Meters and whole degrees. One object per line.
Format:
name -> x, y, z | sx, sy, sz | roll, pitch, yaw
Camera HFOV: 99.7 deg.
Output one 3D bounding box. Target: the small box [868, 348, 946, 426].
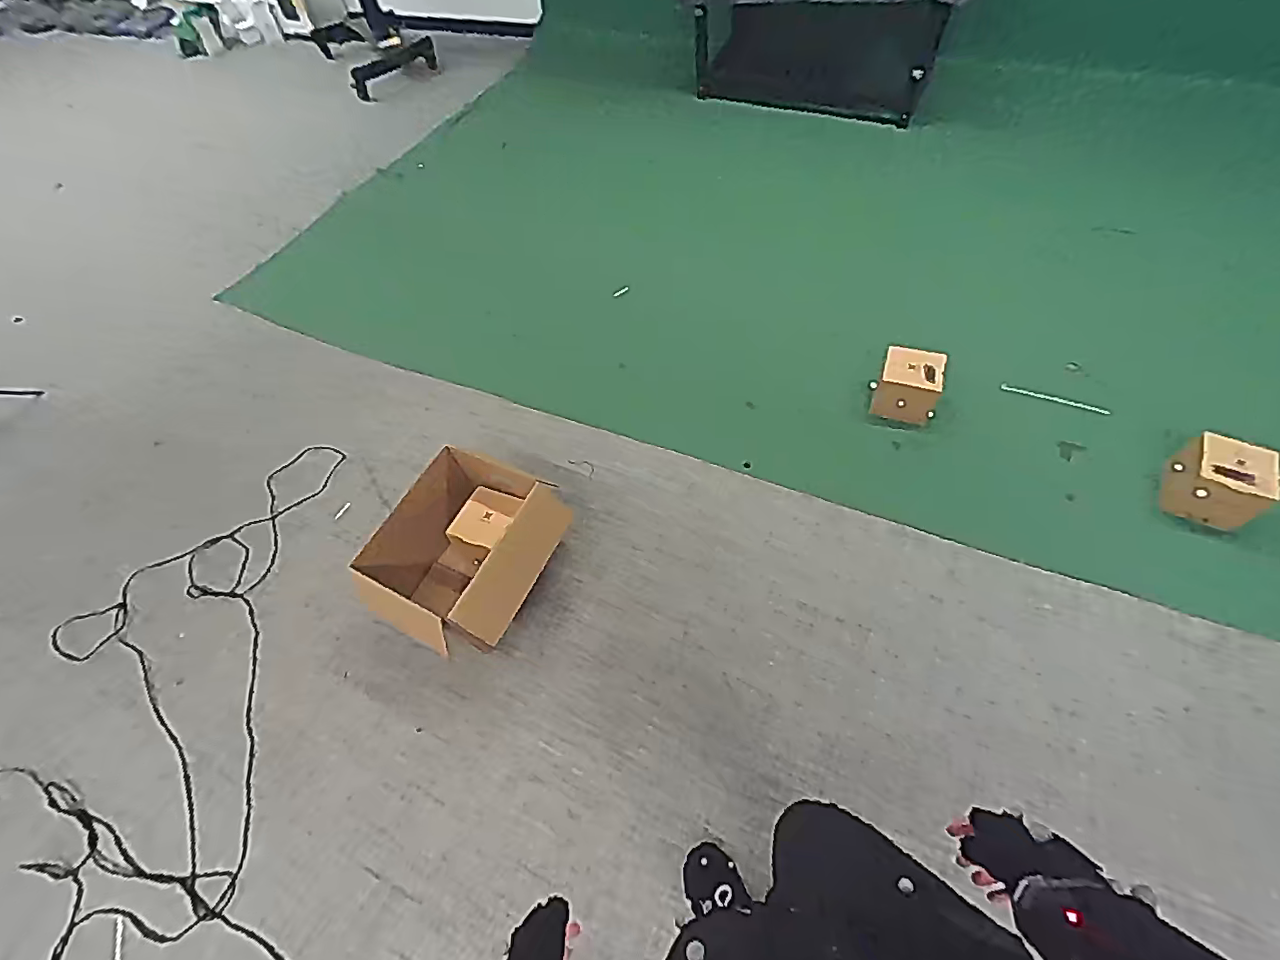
small box -> 0.865, -0.299, 1.759 | 0.179, 0.176, 0.168 | 15, 59, 17
